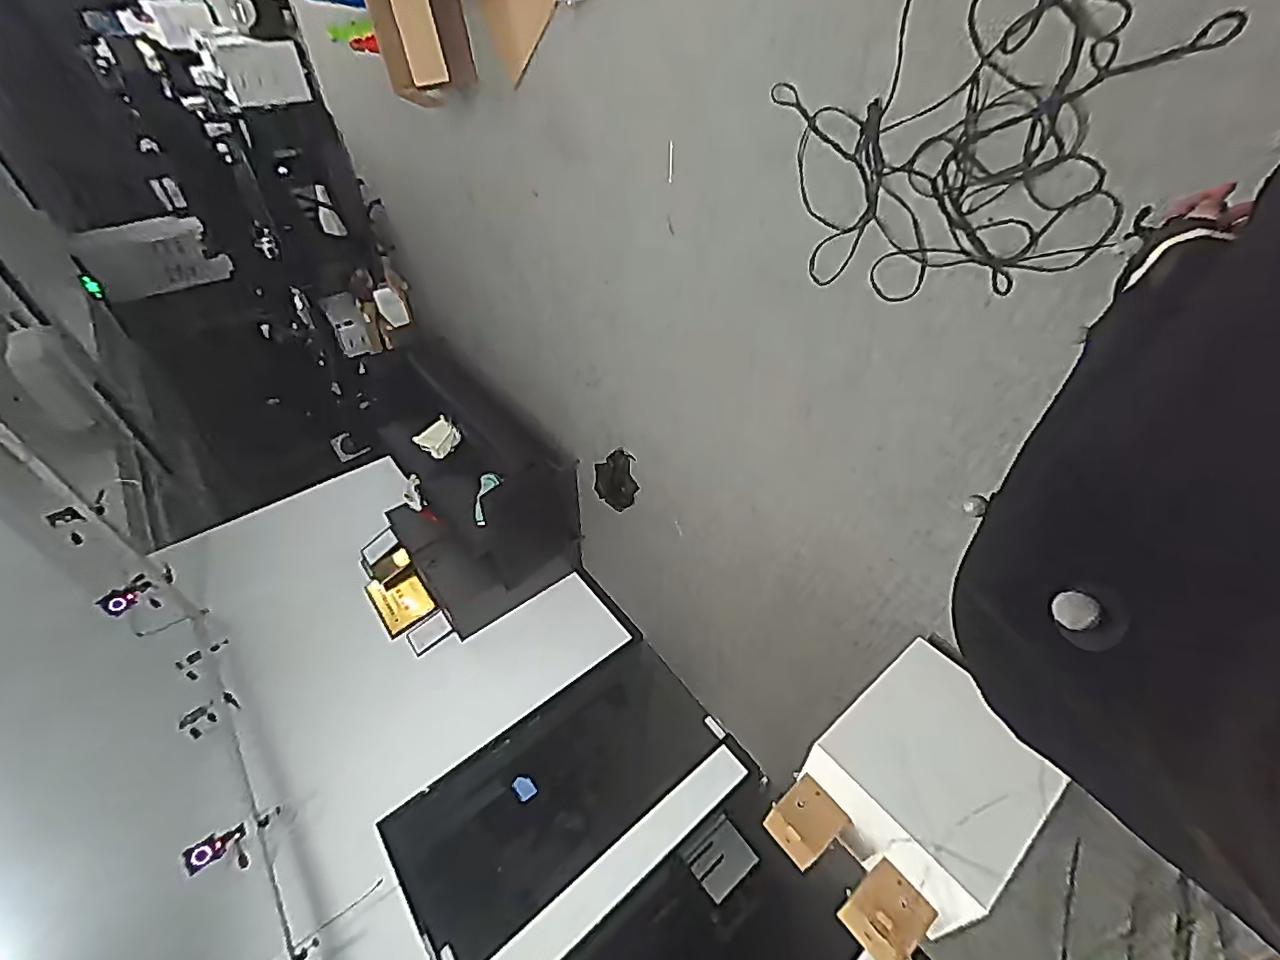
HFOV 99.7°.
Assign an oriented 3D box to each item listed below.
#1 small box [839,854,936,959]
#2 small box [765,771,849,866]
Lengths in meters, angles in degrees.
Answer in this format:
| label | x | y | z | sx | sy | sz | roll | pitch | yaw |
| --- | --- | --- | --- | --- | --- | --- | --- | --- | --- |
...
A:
| label | x | y | z | sx | sy | sz | roll | pitch | yaw |
| --- | --- | --- | --- | --- | --- | --- | --- | --- | --- |
| small box | 0.696 | 1.207 | 1.522 | 0.168 | 0.176 | 0.179 | 40 | 145 | 37 |
| small box | 0.519 | 1.043 | 1.674 | 0.168 | 0.176 | 0.179 | 42 | 148 | 34 |
